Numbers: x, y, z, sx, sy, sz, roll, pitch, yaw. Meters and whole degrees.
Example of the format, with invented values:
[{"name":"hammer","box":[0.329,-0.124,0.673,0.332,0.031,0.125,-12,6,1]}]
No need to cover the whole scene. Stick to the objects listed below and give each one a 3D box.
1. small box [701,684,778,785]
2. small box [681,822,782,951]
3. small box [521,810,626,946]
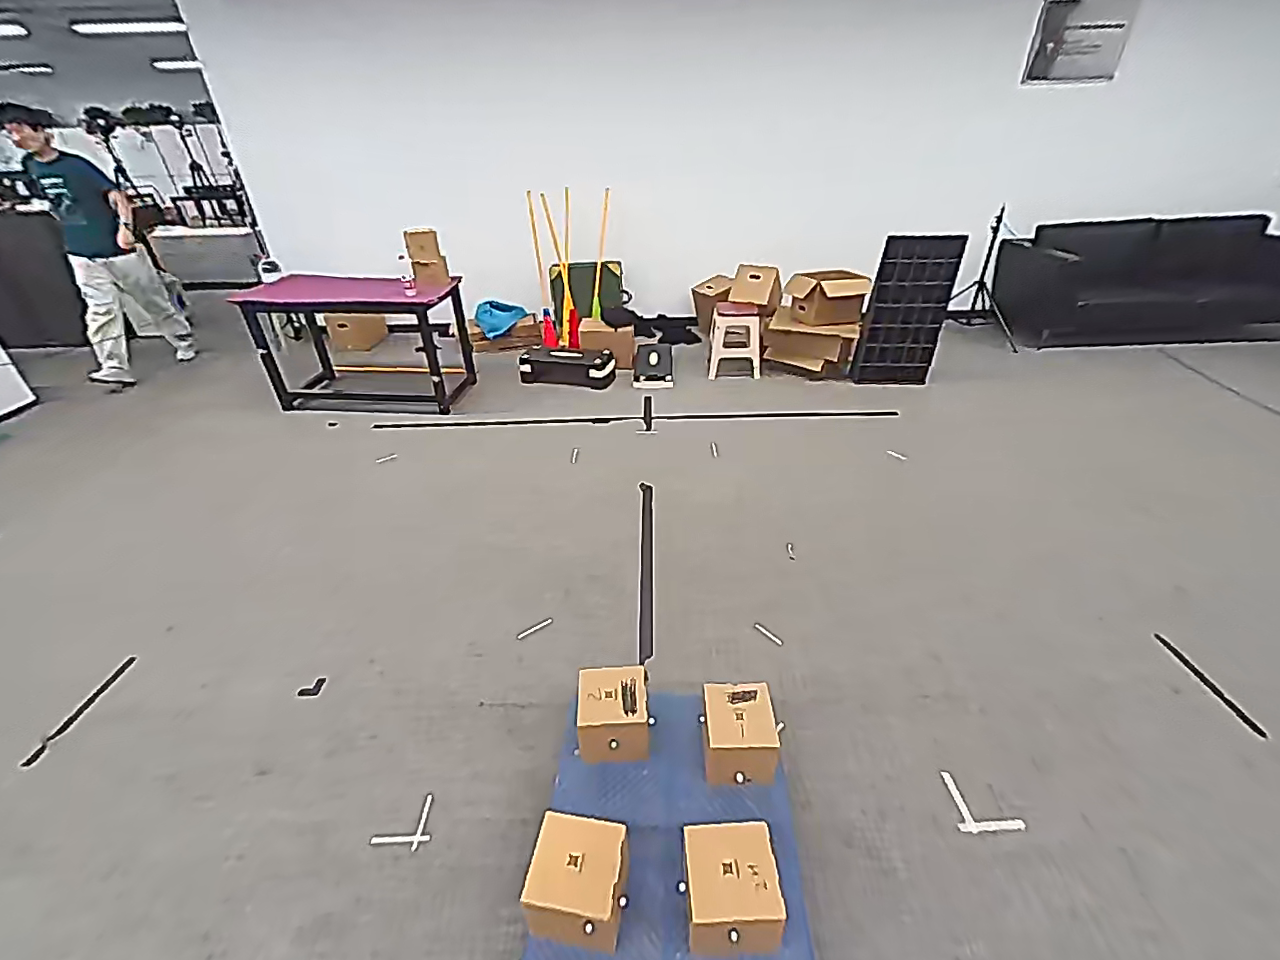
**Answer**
[{"name":"small box","box":[0.246,0.644,1.376,0.168,0.176,0.179,-1,34,2]},{"name":"small box","box":[0.177,0.827,1.099,0.179,0.176,0.168,-2,33,0]},{"name":"small box","box":[-0.129,0.823,1.119,0.179,0.176,0.168,5,33,8]}]
